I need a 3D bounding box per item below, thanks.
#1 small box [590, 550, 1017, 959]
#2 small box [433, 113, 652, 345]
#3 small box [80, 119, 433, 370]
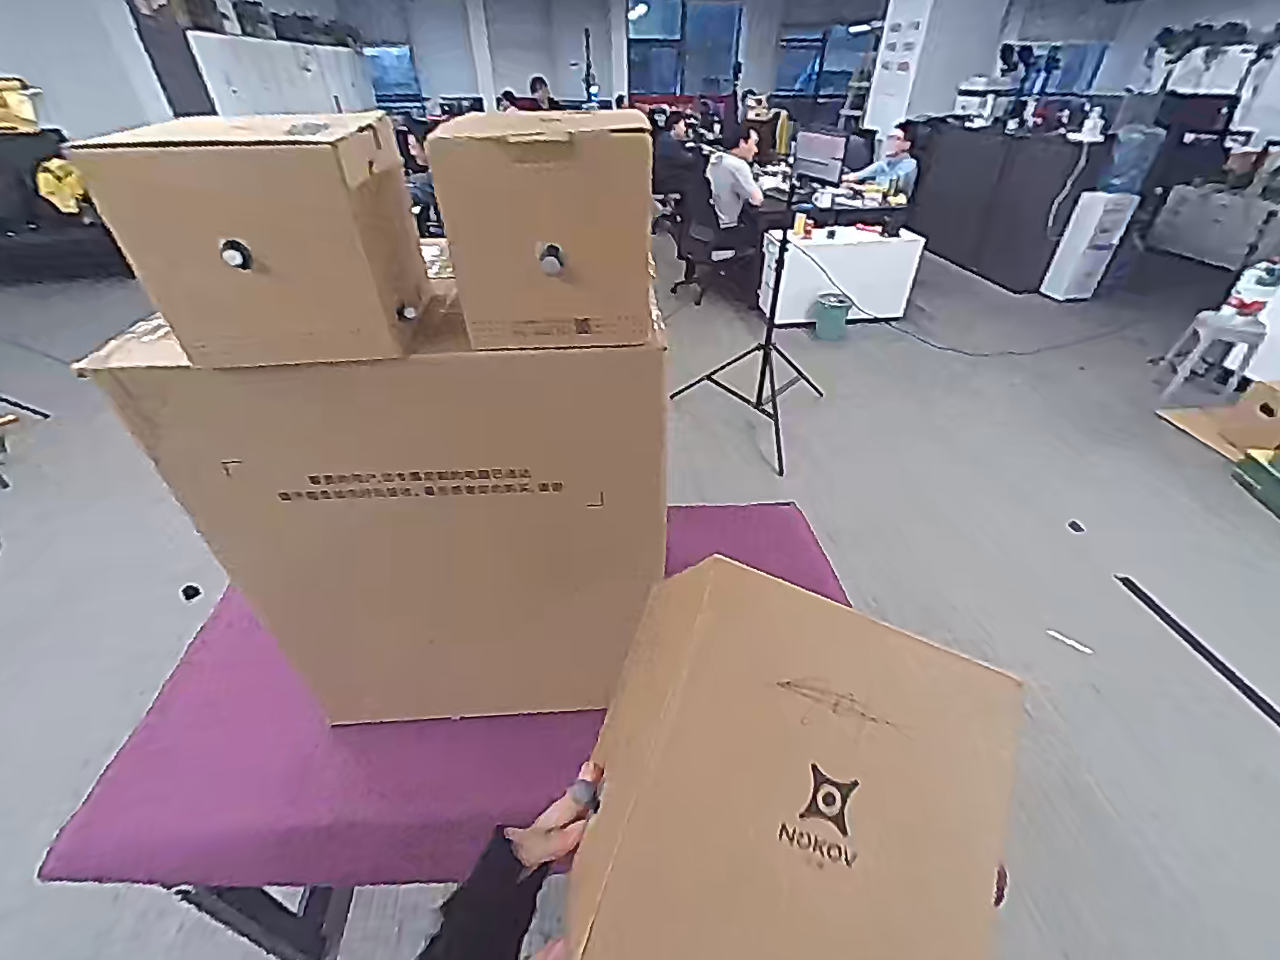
[{"bbox_3d":[0.076,0.166,0.321,0.168,0.176,0.179,22,69,-2],"label":"small box"},{"bbox_3d":[-0.075,-0.237,0.512,0.168,0.176,0.179,-2,39,-3],"label":"small box"},{"bbox_3d":[-0.302,-0.212,0.484,0.179,0.176,0.168,-5,38,-4],"label":"small box"}]
